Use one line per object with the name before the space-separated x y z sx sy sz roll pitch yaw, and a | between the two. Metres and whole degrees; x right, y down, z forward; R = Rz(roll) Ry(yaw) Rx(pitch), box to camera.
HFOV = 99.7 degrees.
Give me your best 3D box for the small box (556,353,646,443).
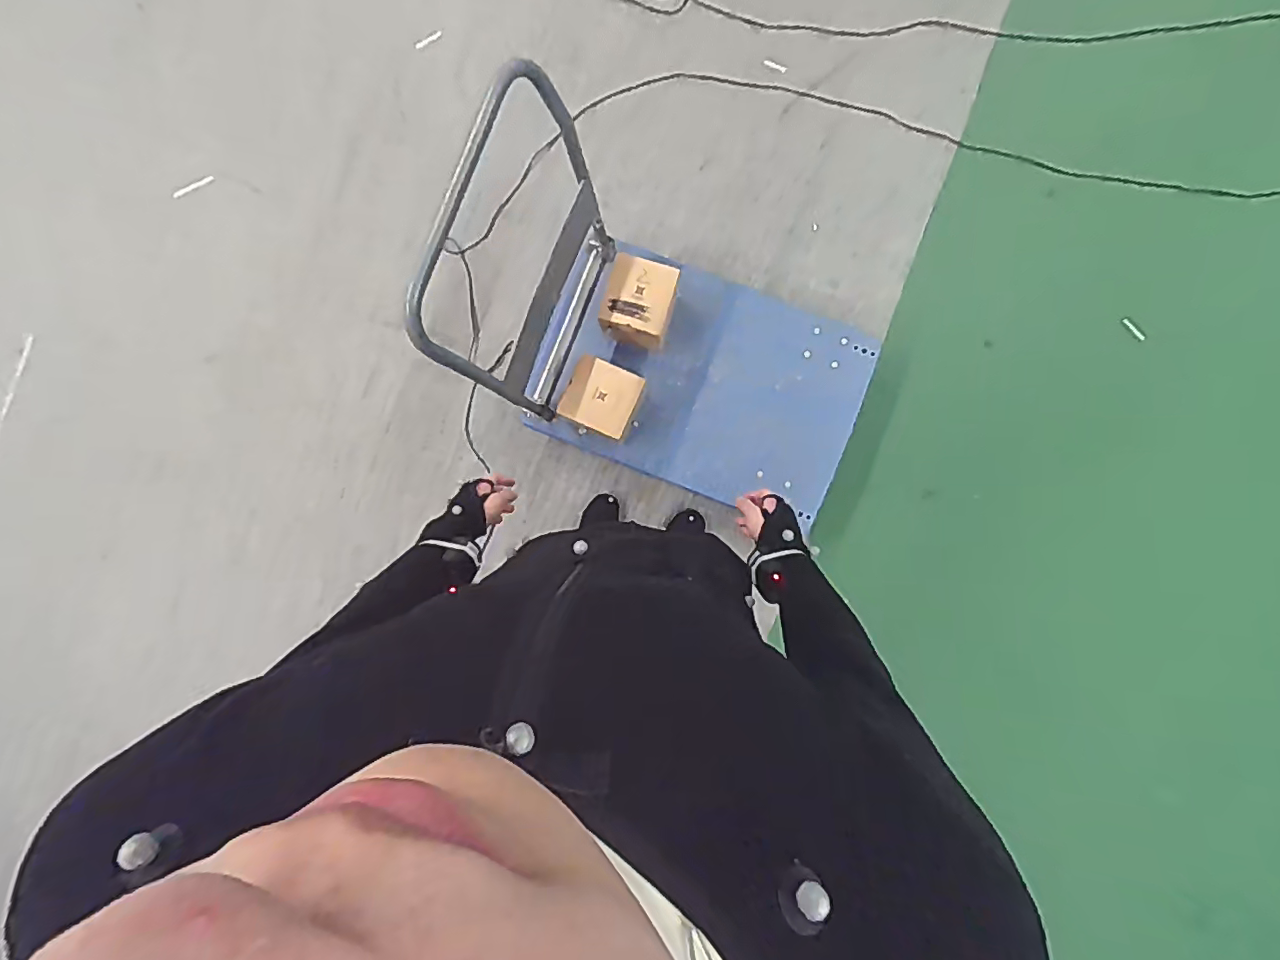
small box | -0.095 -0.203 1.406 0.179 0.176 0.168 24 90 2
